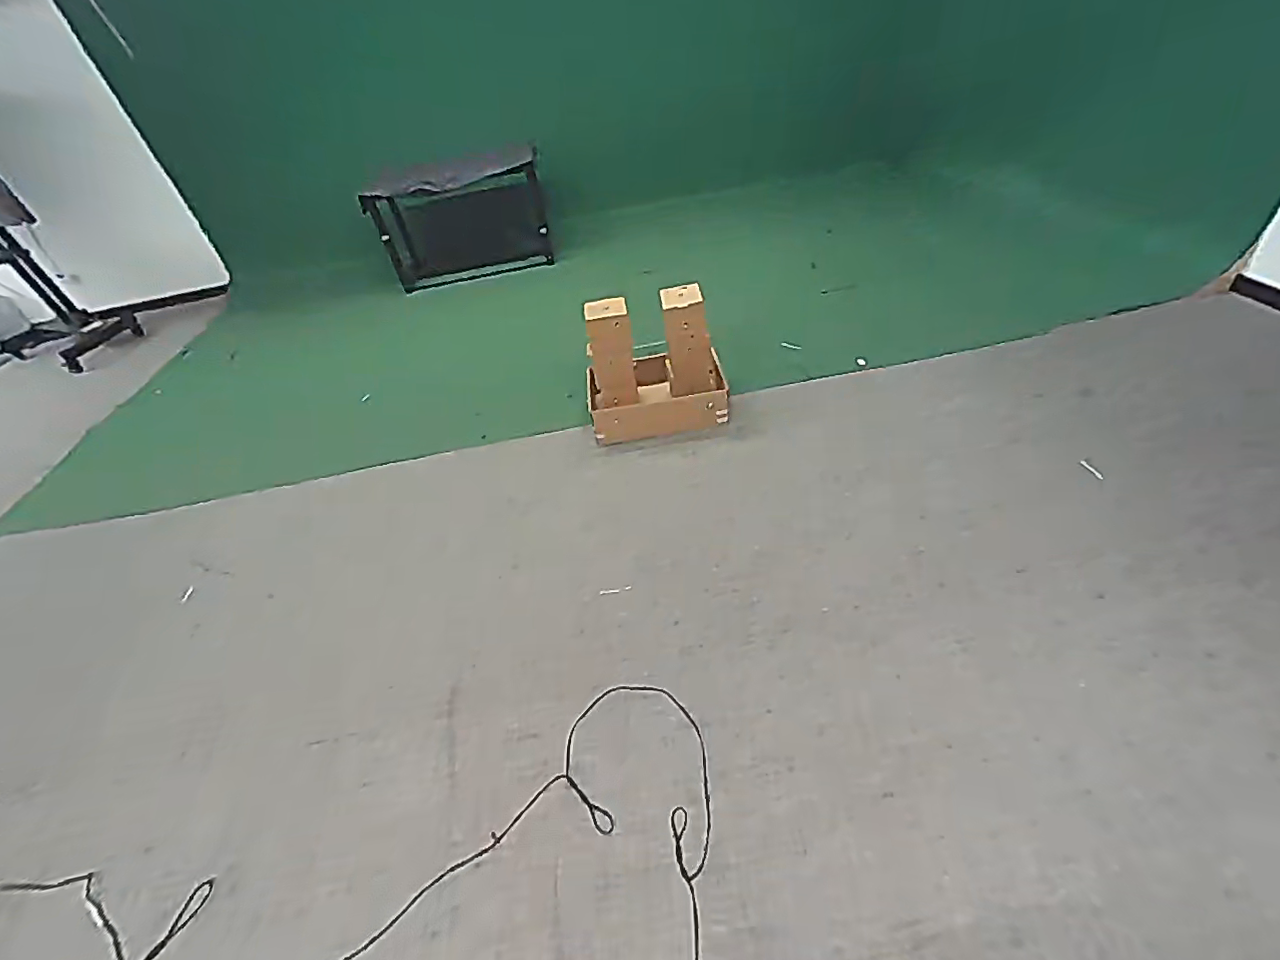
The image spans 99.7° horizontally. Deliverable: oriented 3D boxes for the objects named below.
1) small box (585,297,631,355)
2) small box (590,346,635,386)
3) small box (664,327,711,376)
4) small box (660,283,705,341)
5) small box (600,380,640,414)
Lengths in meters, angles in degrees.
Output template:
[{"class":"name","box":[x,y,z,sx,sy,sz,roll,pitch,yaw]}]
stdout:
[{"class":"small box","box":[-0.134,-0.655,2.299,0.179,0.176,0.168,-10,42,1]},{"class":"small box","box":[-0.123,-0.535,2.413,0.179,0.176,0.168,-9,43,0]},{"class":"small box","box":[0.211,-0.583,2.396,0.179,0.176,0.168,-11,45,1]},{"class":"small box","box":[0.180,-0.705,2.290,0.168,0.176,0.179,-9,45,4]},{"class":"small box","box":[-0.097,-0.424,2.532,0.168,0.176,0.179,-10,43,0]}]
